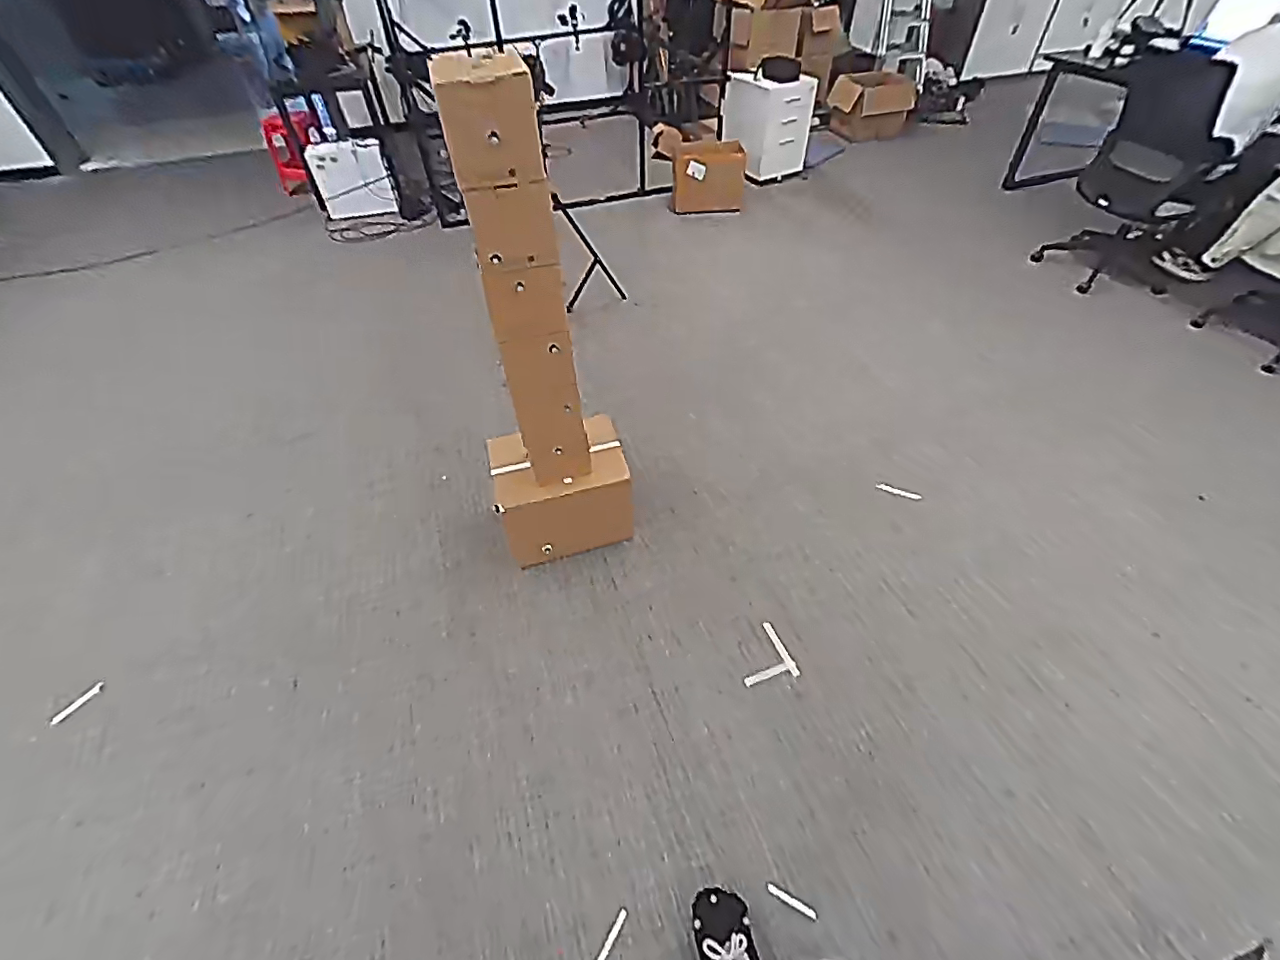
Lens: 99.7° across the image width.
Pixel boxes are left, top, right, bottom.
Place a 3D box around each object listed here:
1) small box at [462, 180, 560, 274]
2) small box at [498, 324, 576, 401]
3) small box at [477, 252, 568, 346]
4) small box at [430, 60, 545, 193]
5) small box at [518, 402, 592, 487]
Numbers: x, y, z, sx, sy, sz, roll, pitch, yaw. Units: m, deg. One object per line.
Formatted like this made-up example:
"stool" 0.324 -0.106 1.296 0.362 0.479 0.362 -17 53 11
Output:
"small box" -0.271 -0.548 1.136 0.168 0.176 0.179 -13 48 -9
"small box" -0.263 -0.326 1.375 0.179 0.176 0.168 -13 48 -9
"small box" -0.268 -0.435 1.256 0.179 0.176 0.168 -13 49 -9
"small box" -0.281 -0.655 1.013 0.168 0.176 0.179 -14 50 -10
"small box" -0.250 -0.103 1.616 0.179 0.176 0.168 -15 50 -13
